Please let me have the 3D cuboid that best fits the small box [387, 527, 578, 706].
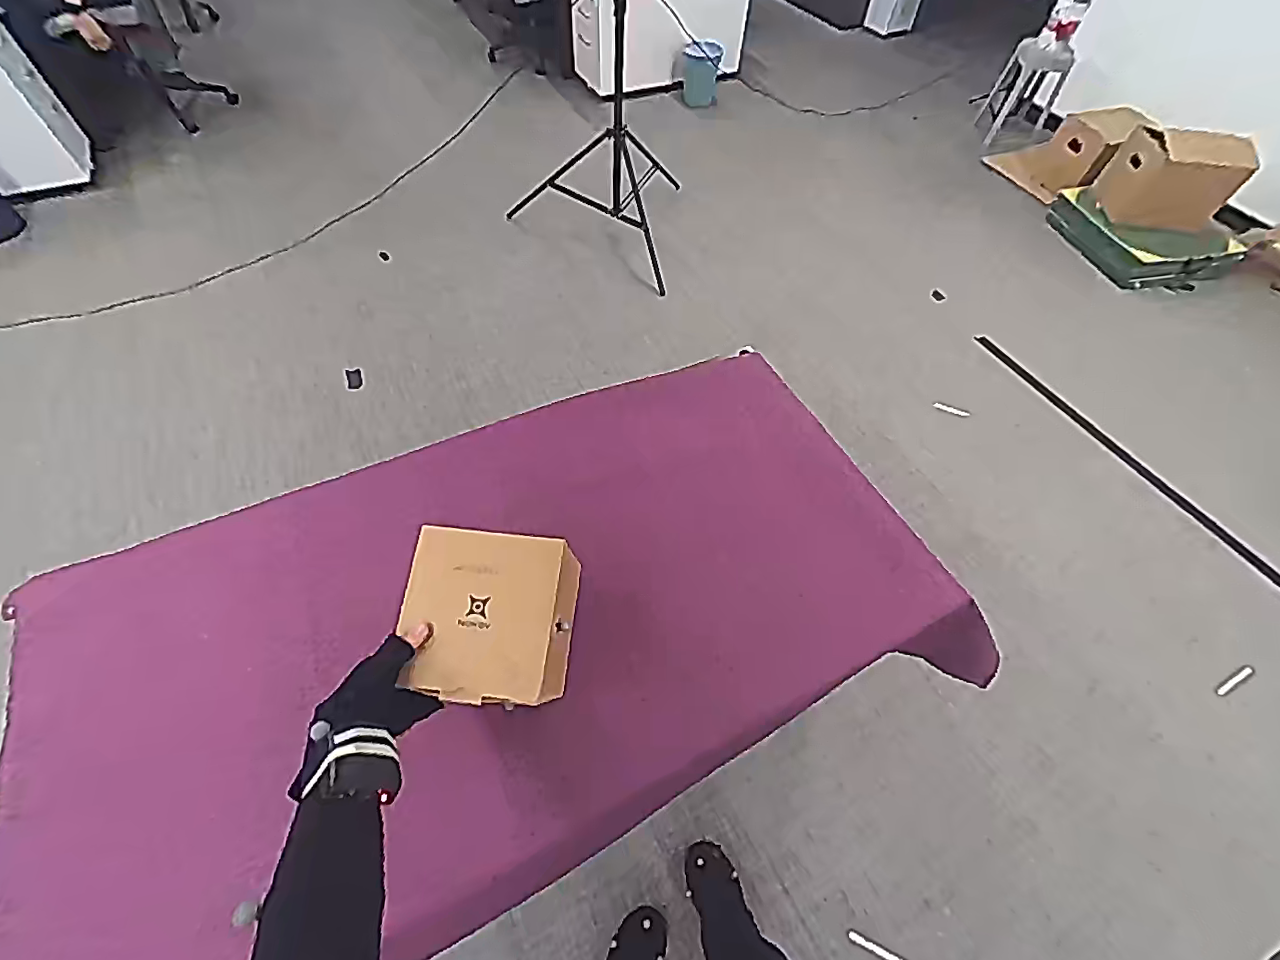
[{"bbox_3d":[-0.174,0.167,0.660,0.168,0.176,0.179,5,72,3],"label":"small box"}]
